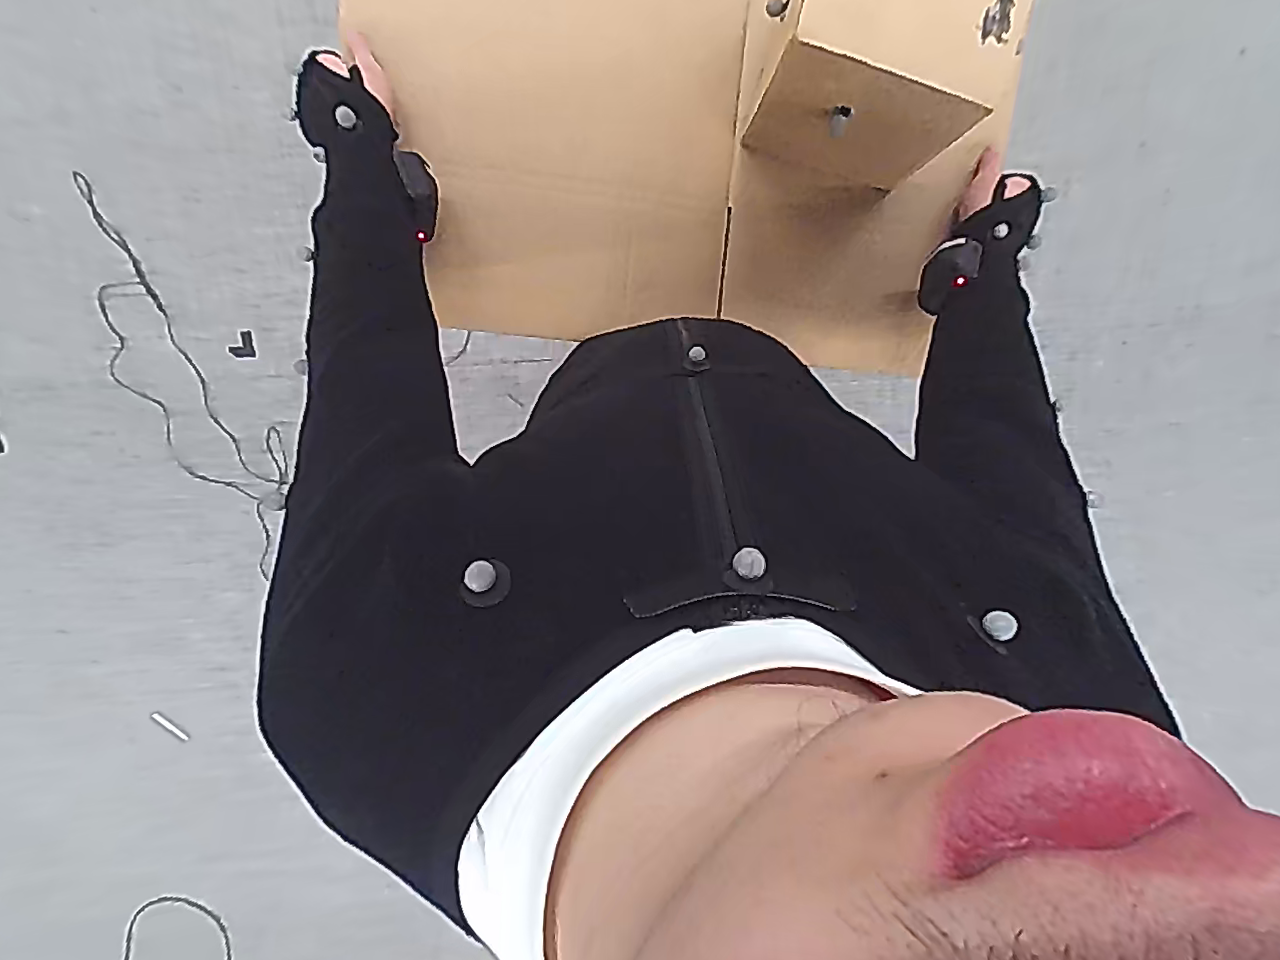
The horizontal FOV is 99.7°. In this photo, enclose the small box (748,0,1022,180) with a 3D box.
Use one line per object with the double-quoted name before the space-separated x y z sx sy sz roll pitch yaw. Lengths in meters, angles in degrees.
"small box" 0.215 -0.410 0.500 0.179 0.176 0.168 15 97 -4
